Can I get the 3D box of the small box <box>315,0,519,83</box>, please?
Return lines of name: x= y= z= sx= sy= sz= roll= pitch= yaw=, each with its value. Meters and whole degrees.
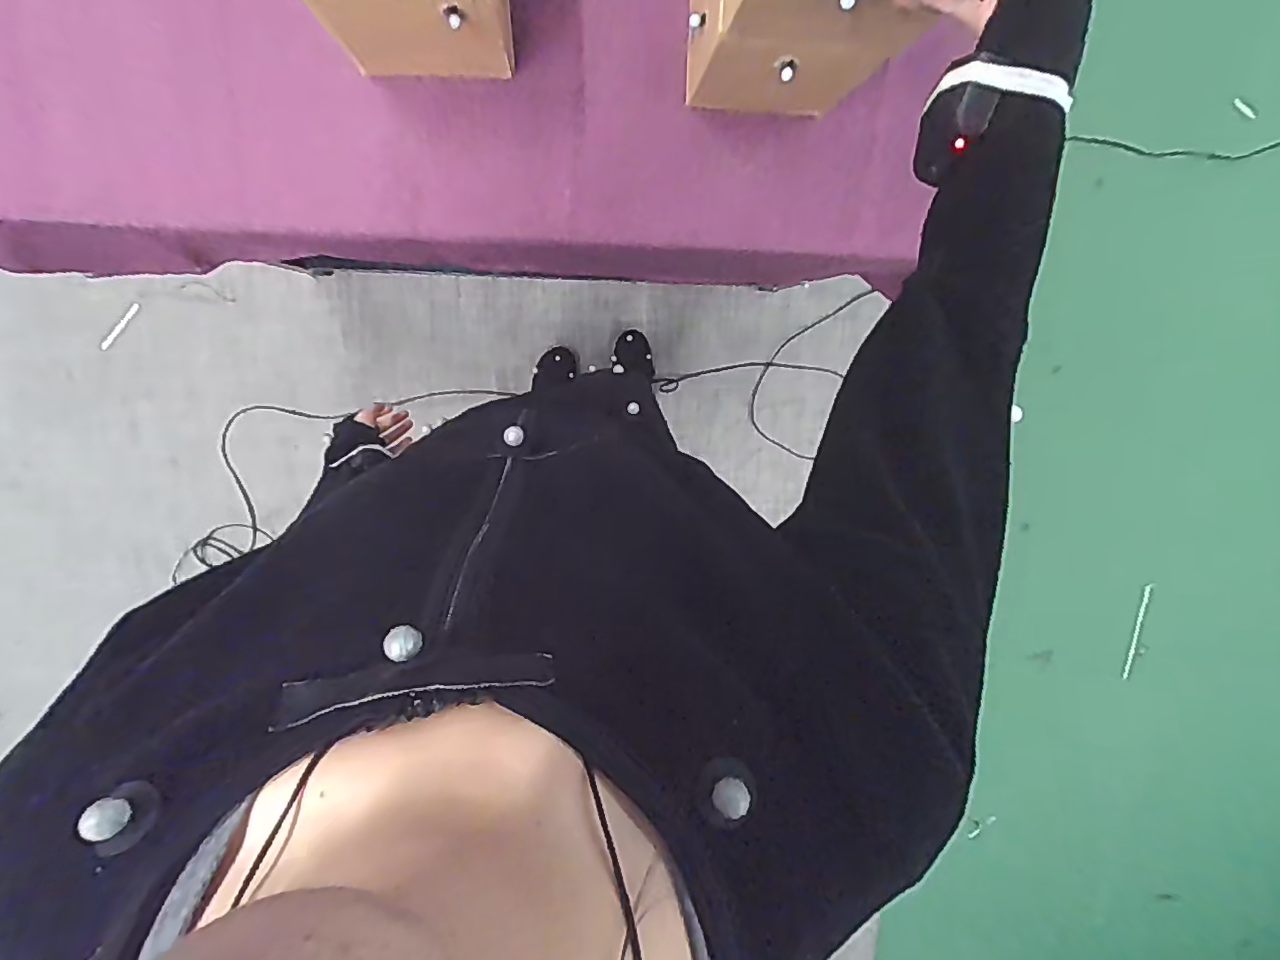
small box: x=-0.223 y=-0.524 z=0.536 sx=0.179 sy=0.176 sz=0.168 roll=-4 pitch=104 yaw=-6

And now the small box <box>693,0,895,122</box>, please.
small box: x=0.158 y=-0.511 z=0.580 sx=0.179 sy=0.176 sz=0.168 roll=0 pitch=105 yaw=-7

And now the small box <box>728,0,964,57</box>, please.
small box: x=0.180 y=-0.468 z=0.424 sx=0.179 sy=0.176 sz=0.168 roll=1 pitch=106 yaw=-6
